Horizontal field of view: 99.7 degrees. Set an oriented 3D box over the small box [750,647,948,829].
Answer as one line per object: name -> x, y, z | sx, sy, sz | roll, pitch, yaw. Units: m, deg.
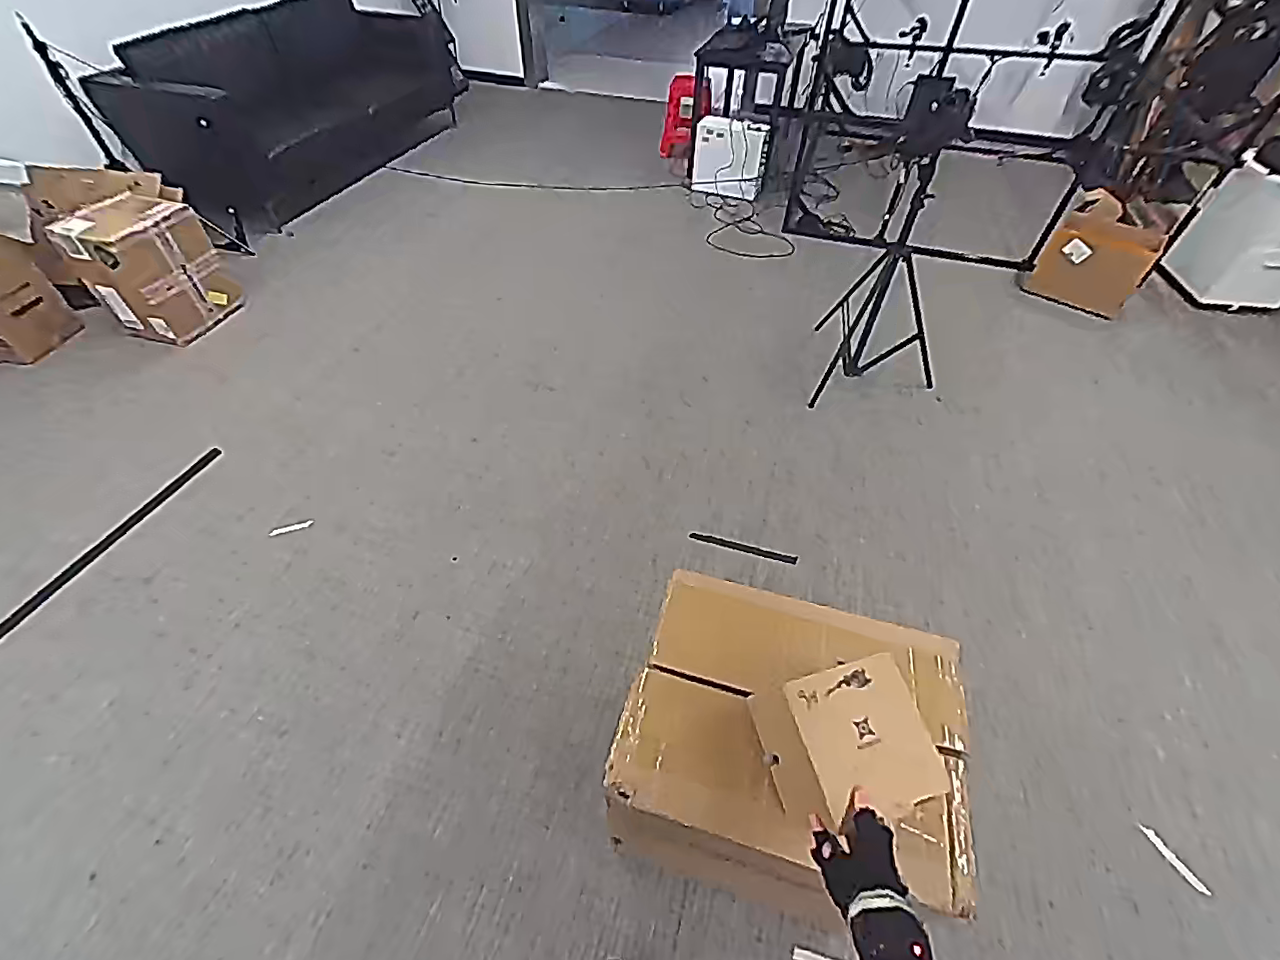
small box -> 0.273, 0.355, 0.753 | 0.168, 0.176, 0.179 | -13, 63, -11
